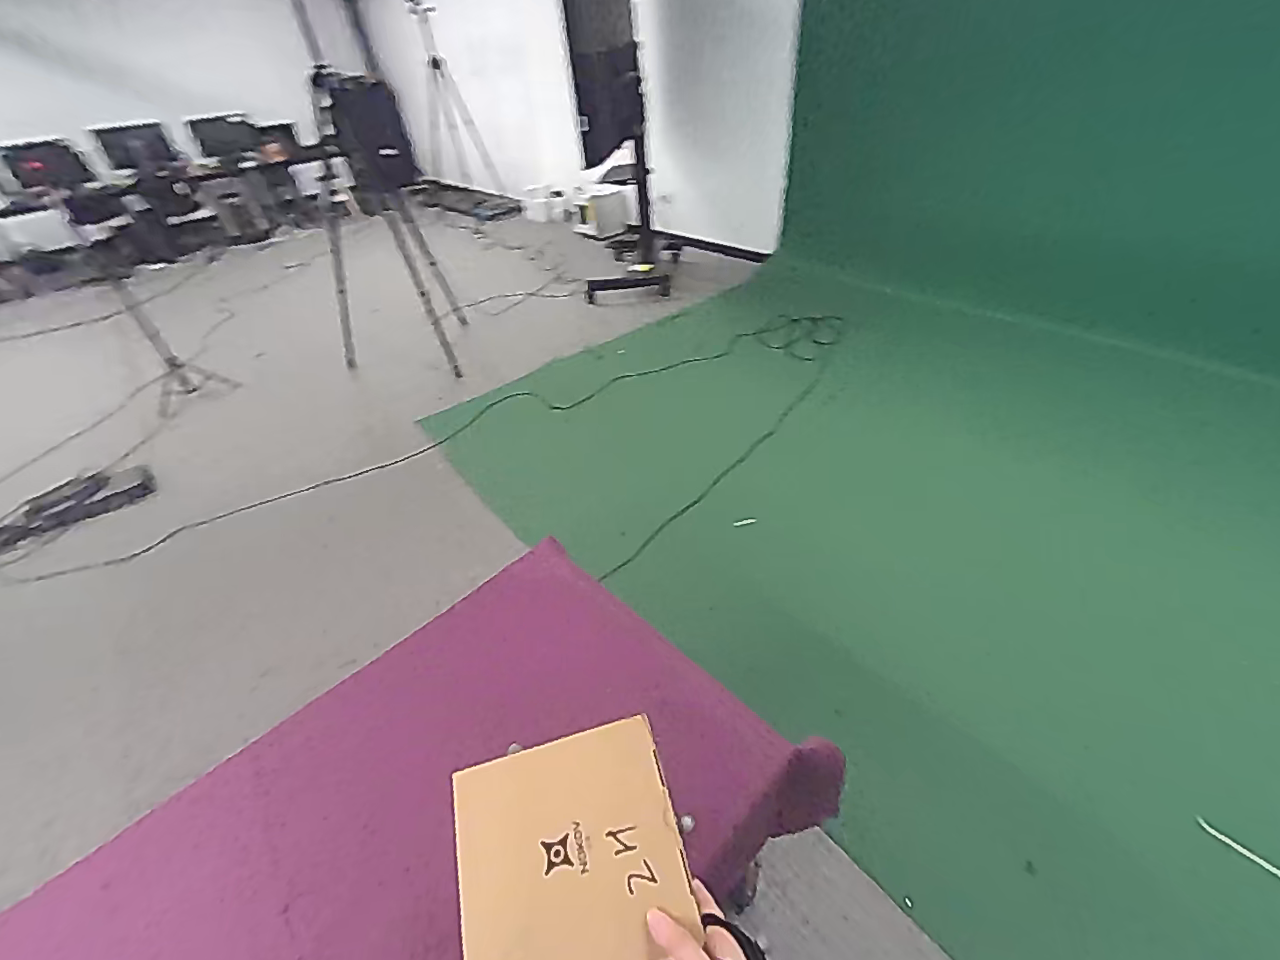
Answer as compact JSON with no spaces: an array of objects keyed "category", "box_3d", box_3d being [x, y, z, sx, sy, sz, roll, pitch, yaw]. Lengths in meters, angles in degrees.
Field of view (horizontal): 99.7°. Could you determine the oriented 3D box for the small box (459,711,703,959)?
[{"category":"small box","box_3d":[-0.048,0.336,0.495,0.179,0.176,0.168,-15,55,-4]}]
